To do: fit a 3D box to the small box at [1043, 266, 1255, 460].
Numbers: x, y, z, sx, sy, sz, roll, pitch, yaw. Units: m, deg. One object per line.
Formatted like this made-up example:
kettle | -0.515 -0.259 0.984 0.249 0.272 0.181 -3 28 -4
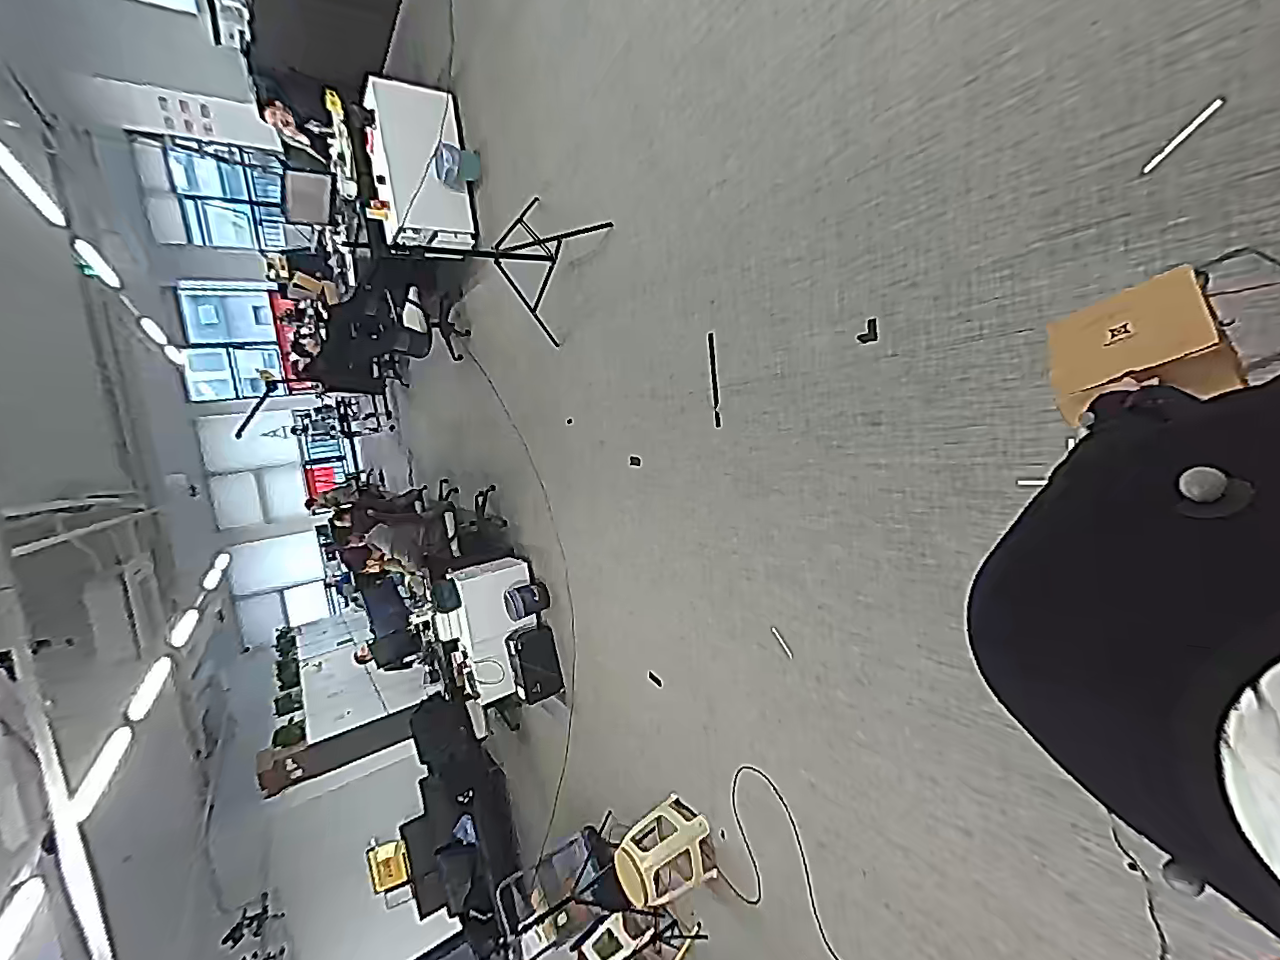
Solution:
small box | 0.696 -0.148 0.750 0.176 0.179 0.168 39 144 -22
